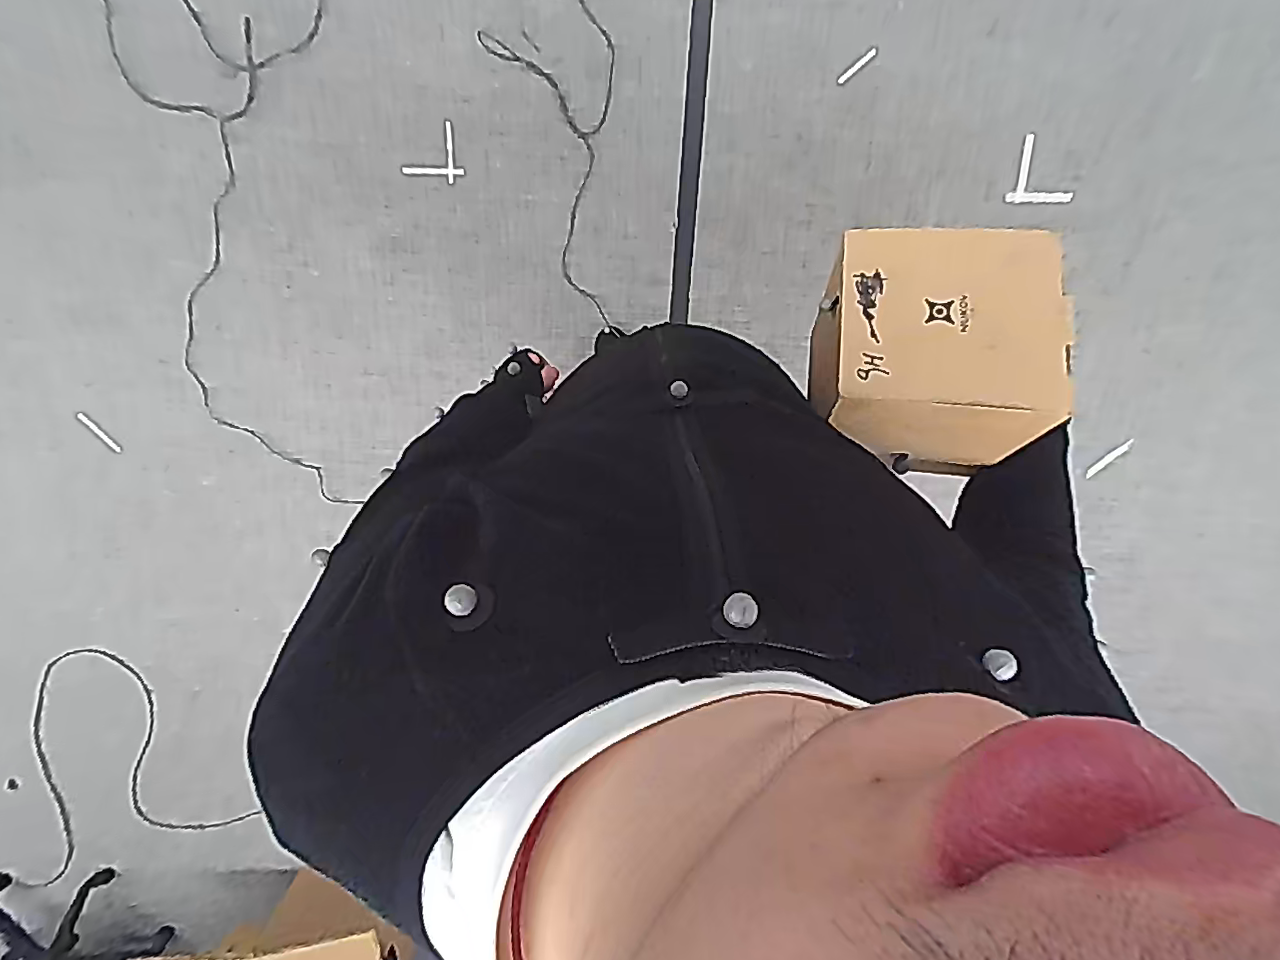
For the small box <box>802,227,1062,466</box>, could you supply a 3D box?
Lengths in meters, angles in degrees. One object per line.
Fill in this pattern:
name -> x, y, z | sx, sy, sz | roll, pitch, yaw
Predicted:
small box -> 0.269, -0.120, 0.536 | 0.179, 0.176, 0.168 | 6, 73, 9
